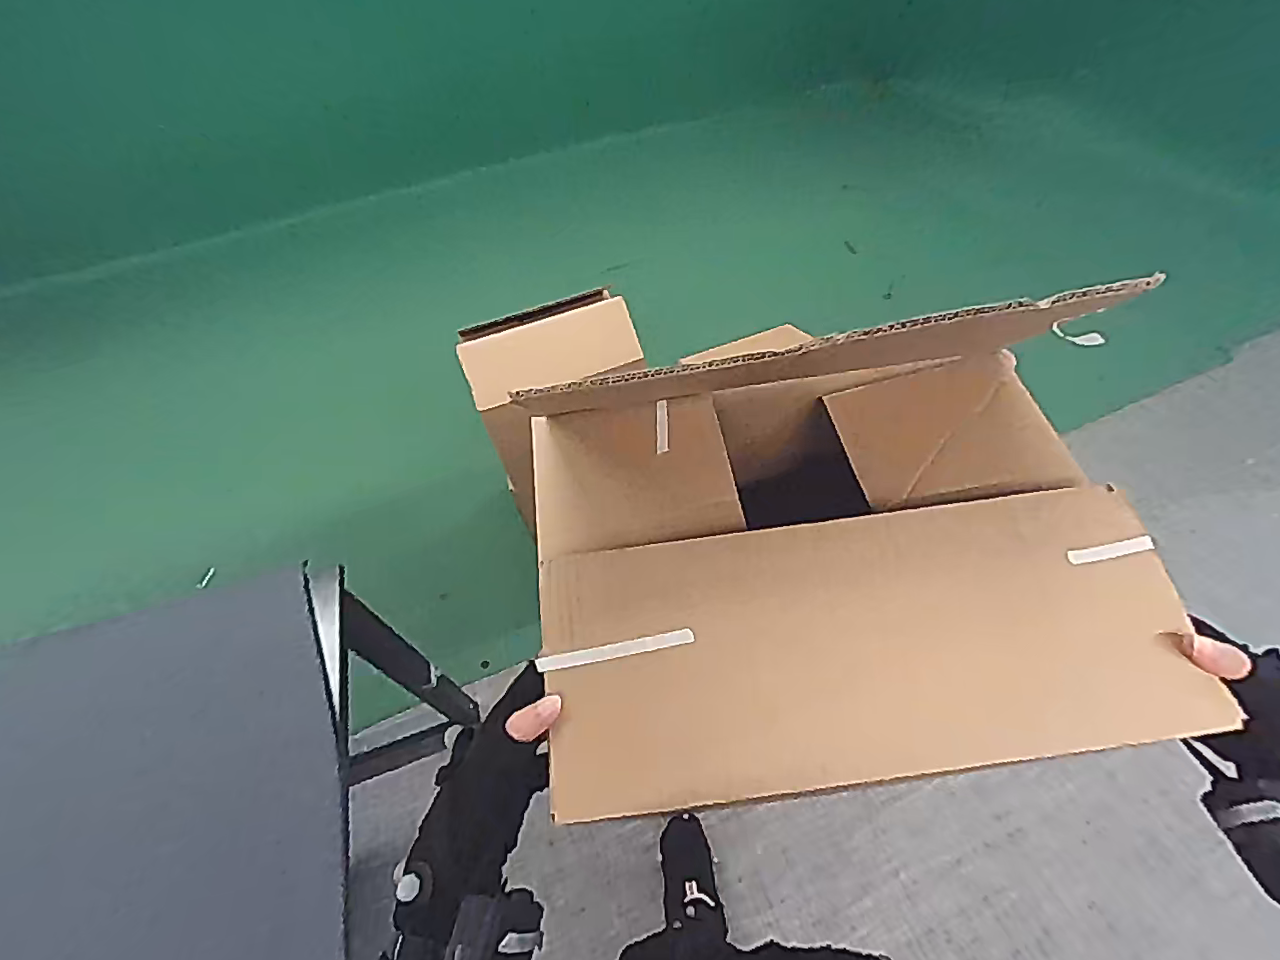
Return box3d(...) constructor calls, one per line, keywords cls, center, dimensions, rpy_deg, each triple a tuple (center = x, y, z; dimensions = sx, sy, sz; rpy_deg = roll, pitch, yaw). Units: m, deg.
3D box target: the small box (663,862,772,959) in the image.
box3d(cls="small box", center=(0.147, 0.887, 1.067), dimensions=(0.168, 0.176, 0.179), rpy_deg=(15, 60, 2))
